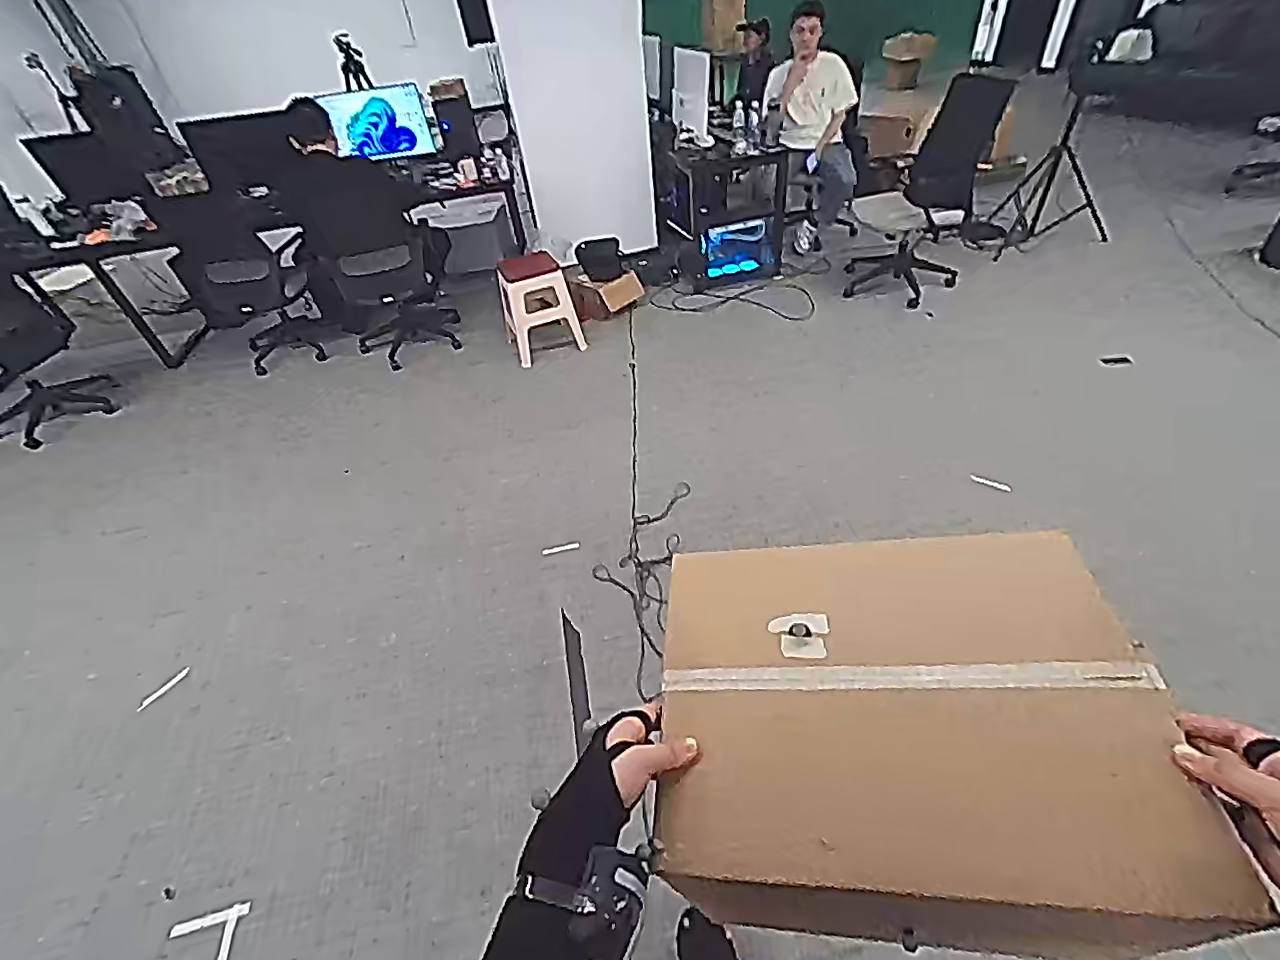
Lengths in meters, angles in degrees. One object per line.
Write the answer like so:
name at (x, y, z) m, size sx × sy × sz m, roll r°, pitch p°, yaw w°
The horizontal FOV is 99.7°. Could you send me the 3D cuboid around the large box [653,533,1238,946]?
large box at (0.255, 0.290, 0.600) m, size 0.408 × 0.320 × 0.320 m, roll -7°, pitch 43°, yaw 15°
